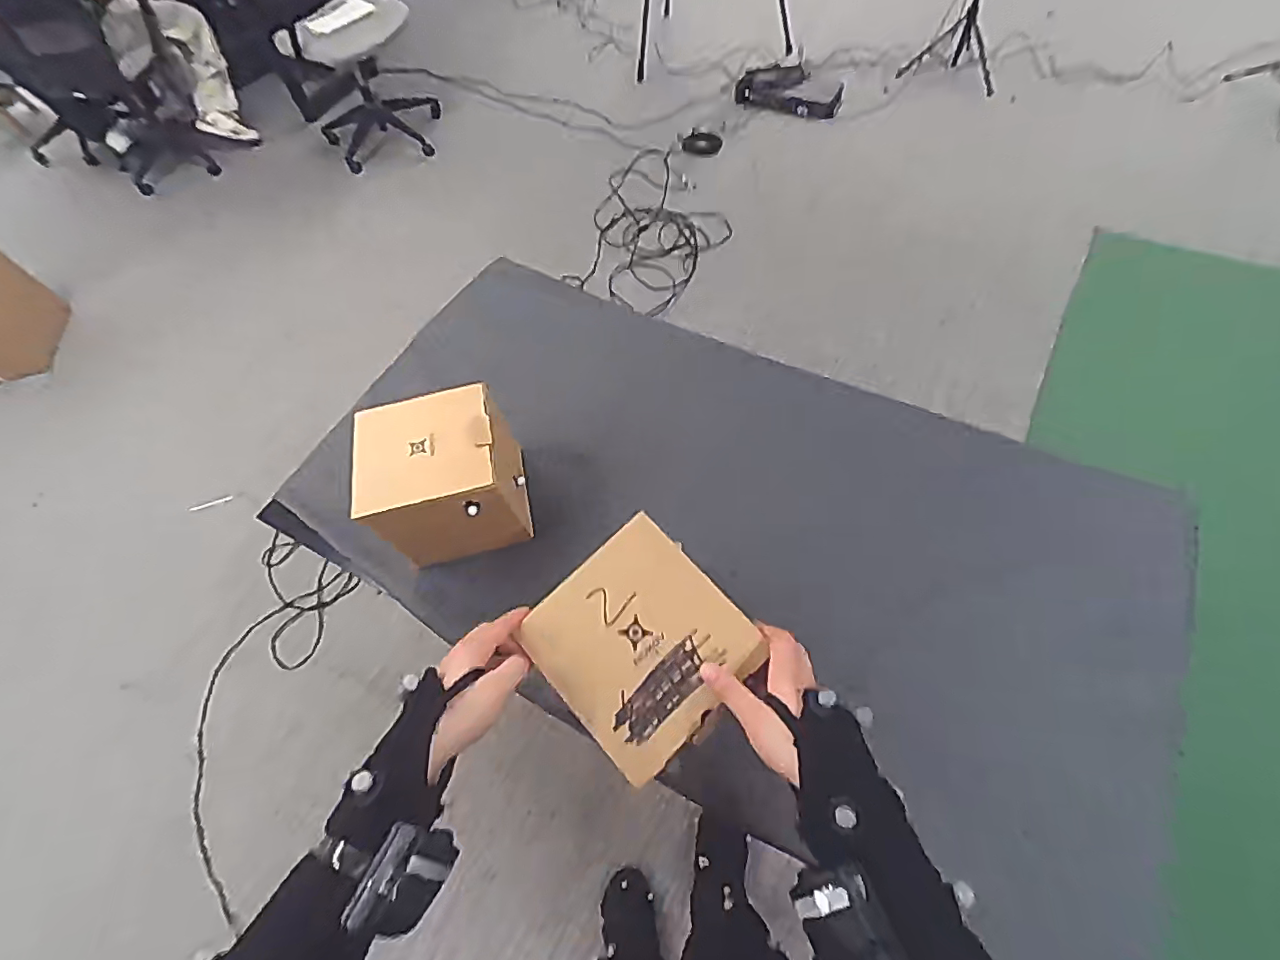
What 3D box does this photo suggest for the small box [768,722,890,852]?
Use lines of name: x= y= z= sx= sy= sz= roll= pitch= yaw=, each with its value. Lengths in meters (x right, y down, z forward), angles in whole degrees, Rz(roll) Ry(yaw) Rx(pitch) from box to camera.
small box: x=0.387 y=0.642 z=1.137 sx=0.179 sy=0.176 sz=0.168 roll=28 pitch=67 yaw=20

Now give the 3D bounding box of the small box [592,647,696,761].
small box: x=0.016 y=0.522 z=1.250 sx=0.168 sy=0.176 sz=0.179 roll=-39 pitch=62 yaw=-17

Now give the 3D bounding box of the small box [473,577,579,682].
small box: x=-0.281 y=0.384 z=1.365 sx=0.179 sy=0.176 sz=0.168 roll=35 pitch=69 yaw=24

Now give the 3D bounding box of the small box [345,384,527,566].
small box: x=-0.270 y=0.001 z=0.742 sx=0.179 sy=0.176 sz=0.168 roll=-14 pitch=59 yaw=-3
